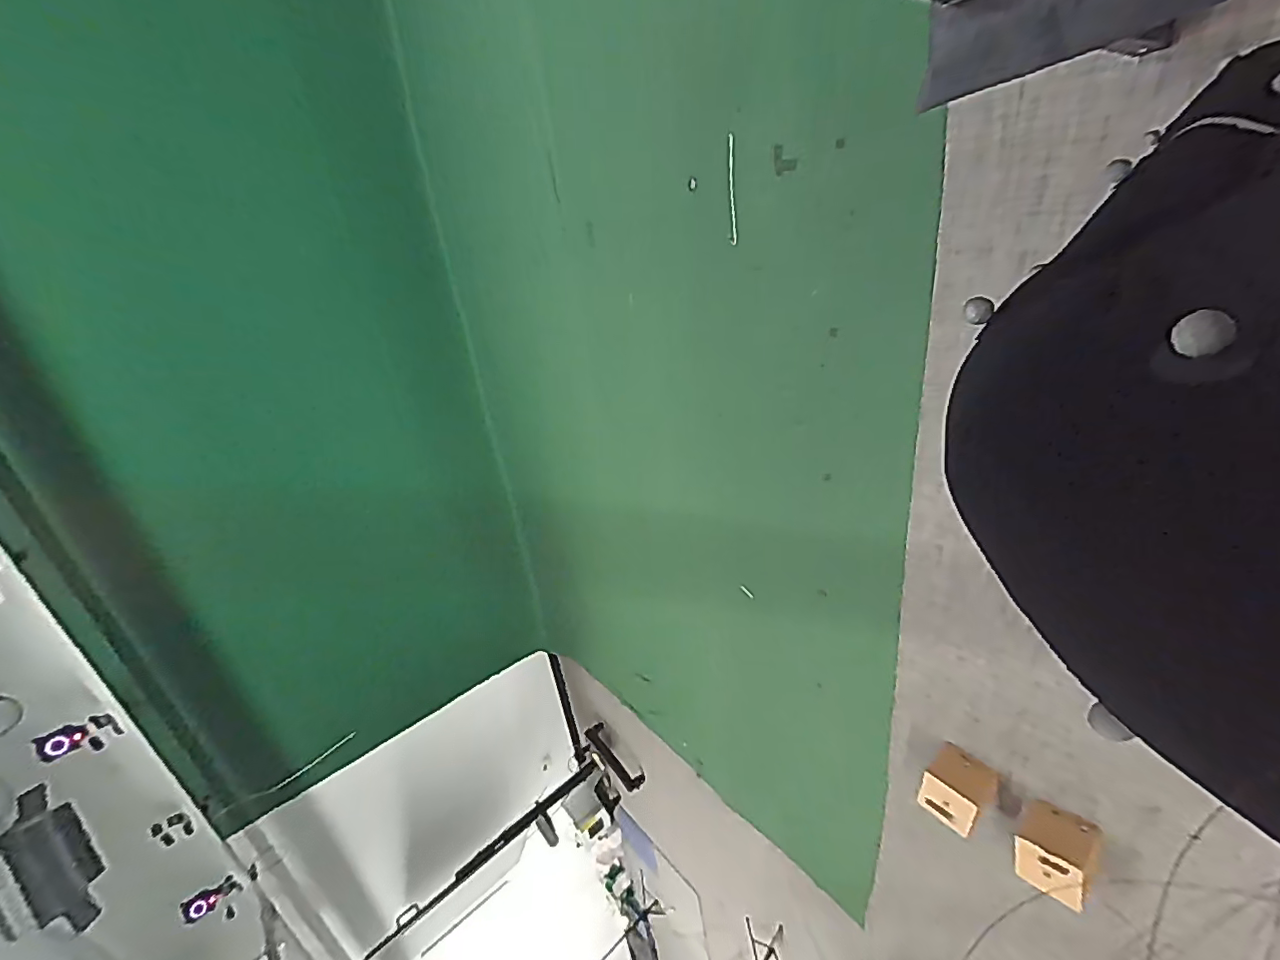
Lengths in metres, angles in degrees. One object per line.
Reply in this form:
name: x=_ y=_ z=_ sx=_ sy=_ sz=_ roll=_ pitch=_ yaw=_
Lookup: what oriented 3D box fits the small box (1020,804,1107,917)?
small box: x=1.253 y=1.116 z=1.602 sx=0.168 sy=0.176 sz=0.179 roll=12 pitch=121 yaw=53
